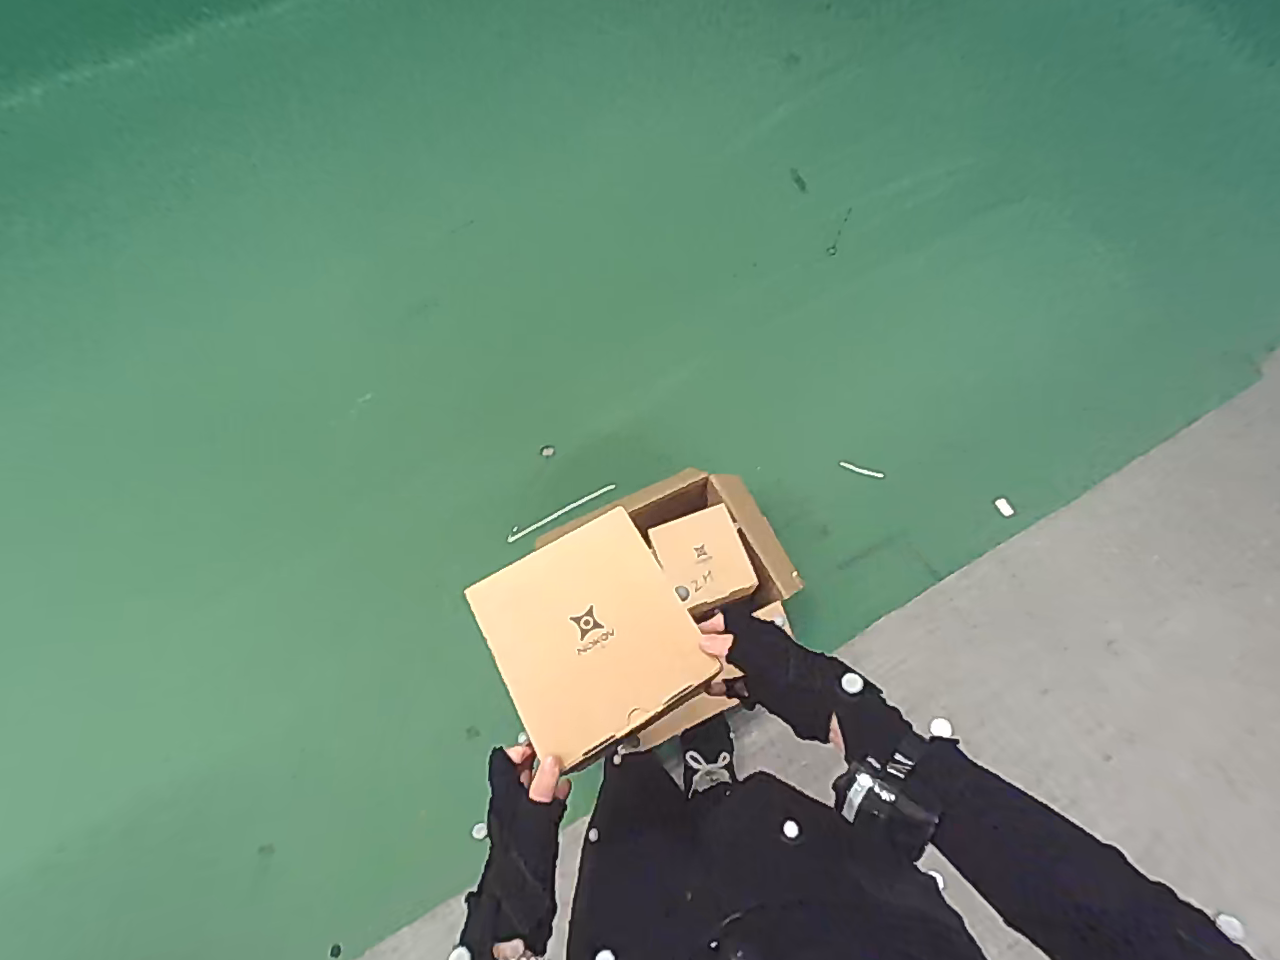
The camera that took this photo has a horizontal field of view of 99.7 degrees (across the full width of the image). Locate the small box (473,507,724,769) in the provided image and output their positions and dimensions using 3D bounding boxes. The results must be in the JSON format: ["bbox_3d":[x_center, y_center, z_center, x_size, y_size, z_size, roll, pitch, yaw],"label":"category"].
[{"bbox_3d":[-0.042,0.162,0.541,0.168,0.176,0.179,-27,67,-14],"label":"small box"}]
